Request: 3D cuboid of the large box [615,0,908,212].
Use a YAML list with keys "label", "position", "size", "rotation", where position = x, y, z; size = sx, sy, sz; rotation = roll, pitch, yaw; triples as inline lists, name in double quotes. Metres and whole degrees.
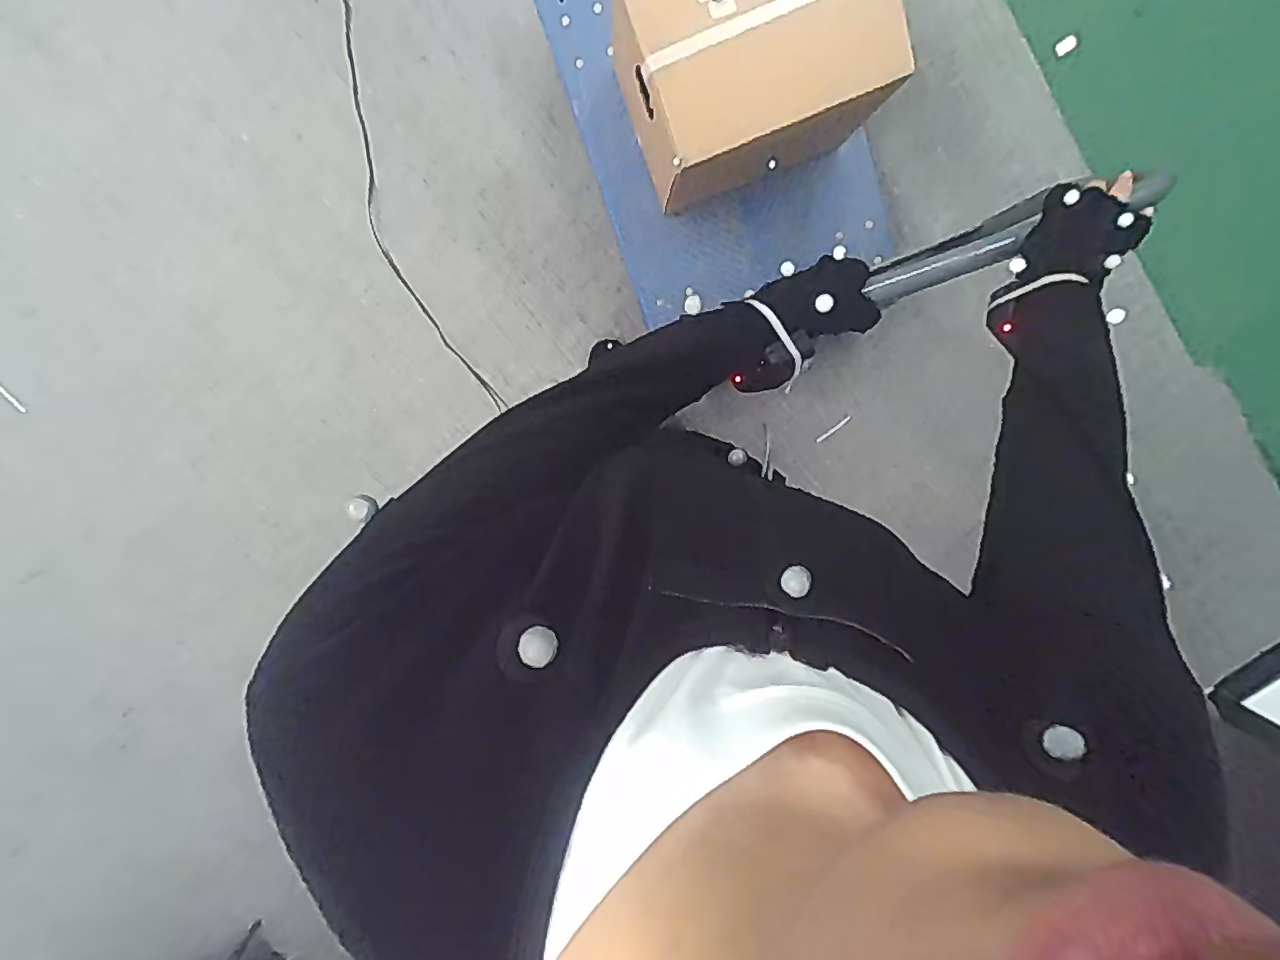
- label: "large box"
  position: [0.194, -0.757, 0.996]
  size: [0.408, 0.320, 0.320]
  rotation: [-21, 102, 3]
